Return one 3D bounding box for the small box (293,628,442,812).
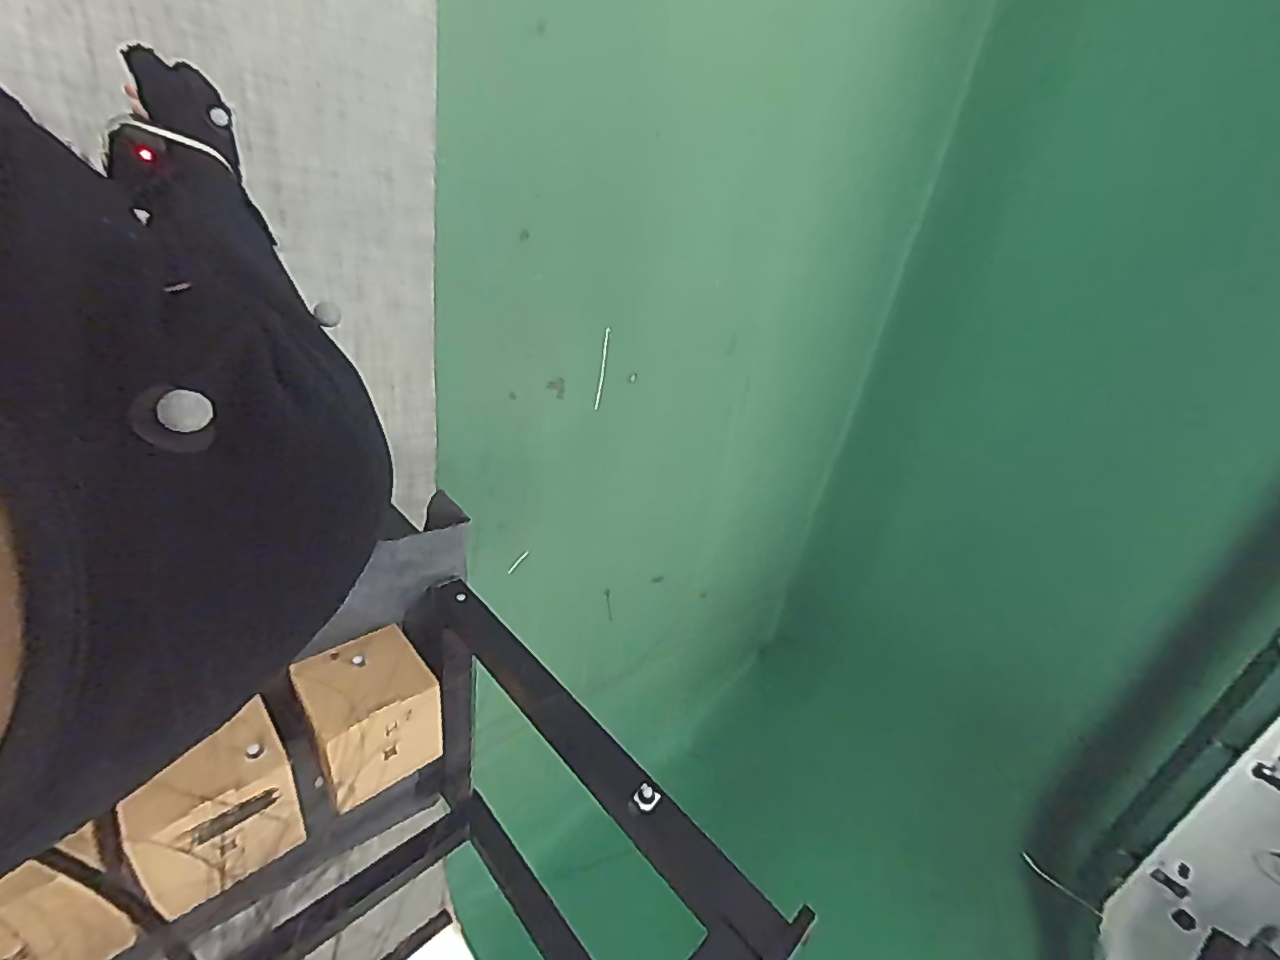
[{"bbox_3d":[-0.440,0.378,0.881,0.168,0.176,0.179,-19,128,-42],"label":"small box"}]
